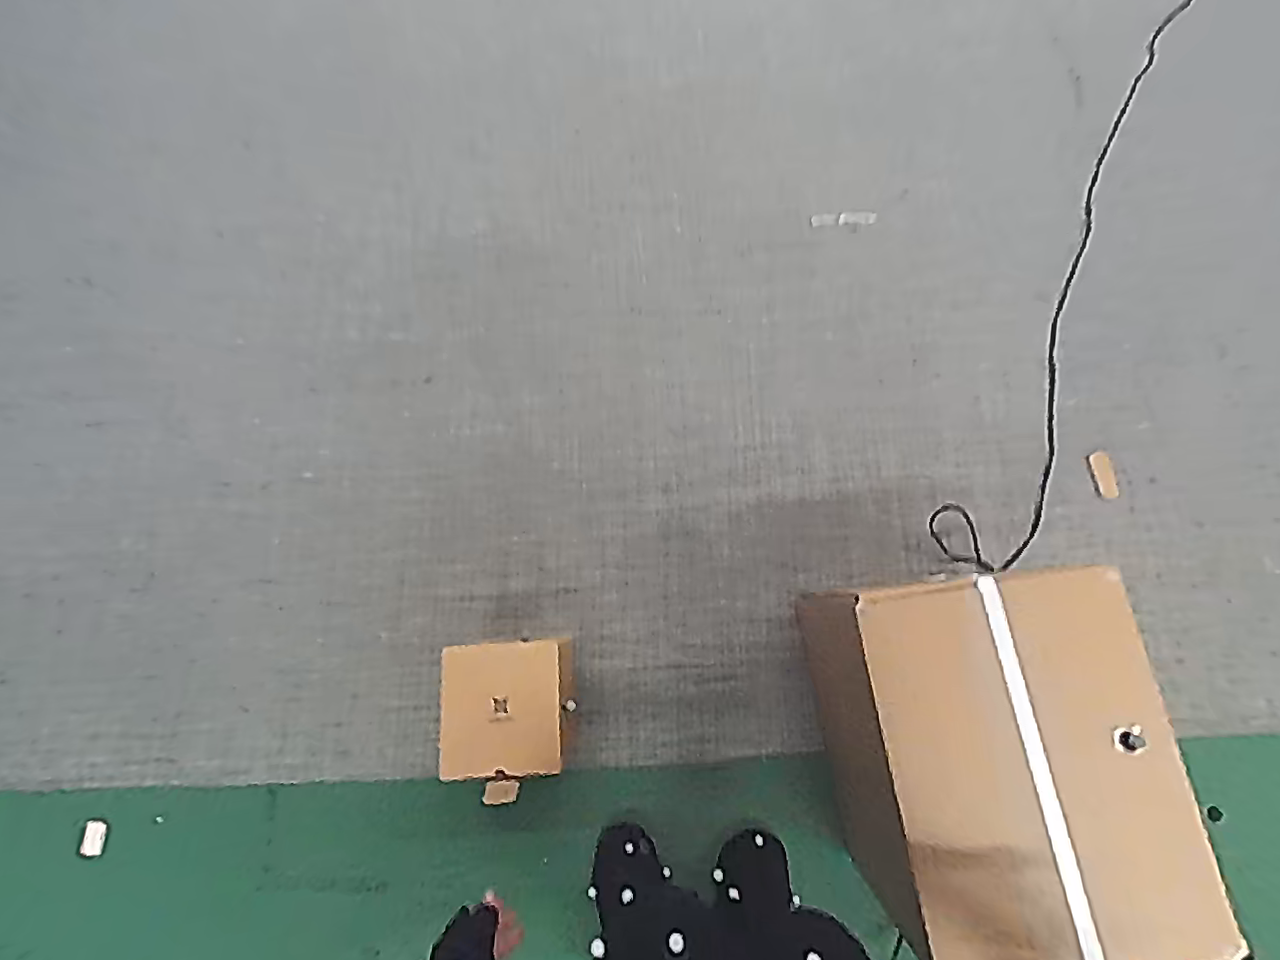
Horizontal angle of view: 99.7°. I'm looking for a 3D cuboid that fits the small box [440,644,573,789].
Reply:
[{"bbox_3d":[-0.196,0.349,0.833,0.168,0.176,0.179,-4,78,-1],"label":"small box"}]
